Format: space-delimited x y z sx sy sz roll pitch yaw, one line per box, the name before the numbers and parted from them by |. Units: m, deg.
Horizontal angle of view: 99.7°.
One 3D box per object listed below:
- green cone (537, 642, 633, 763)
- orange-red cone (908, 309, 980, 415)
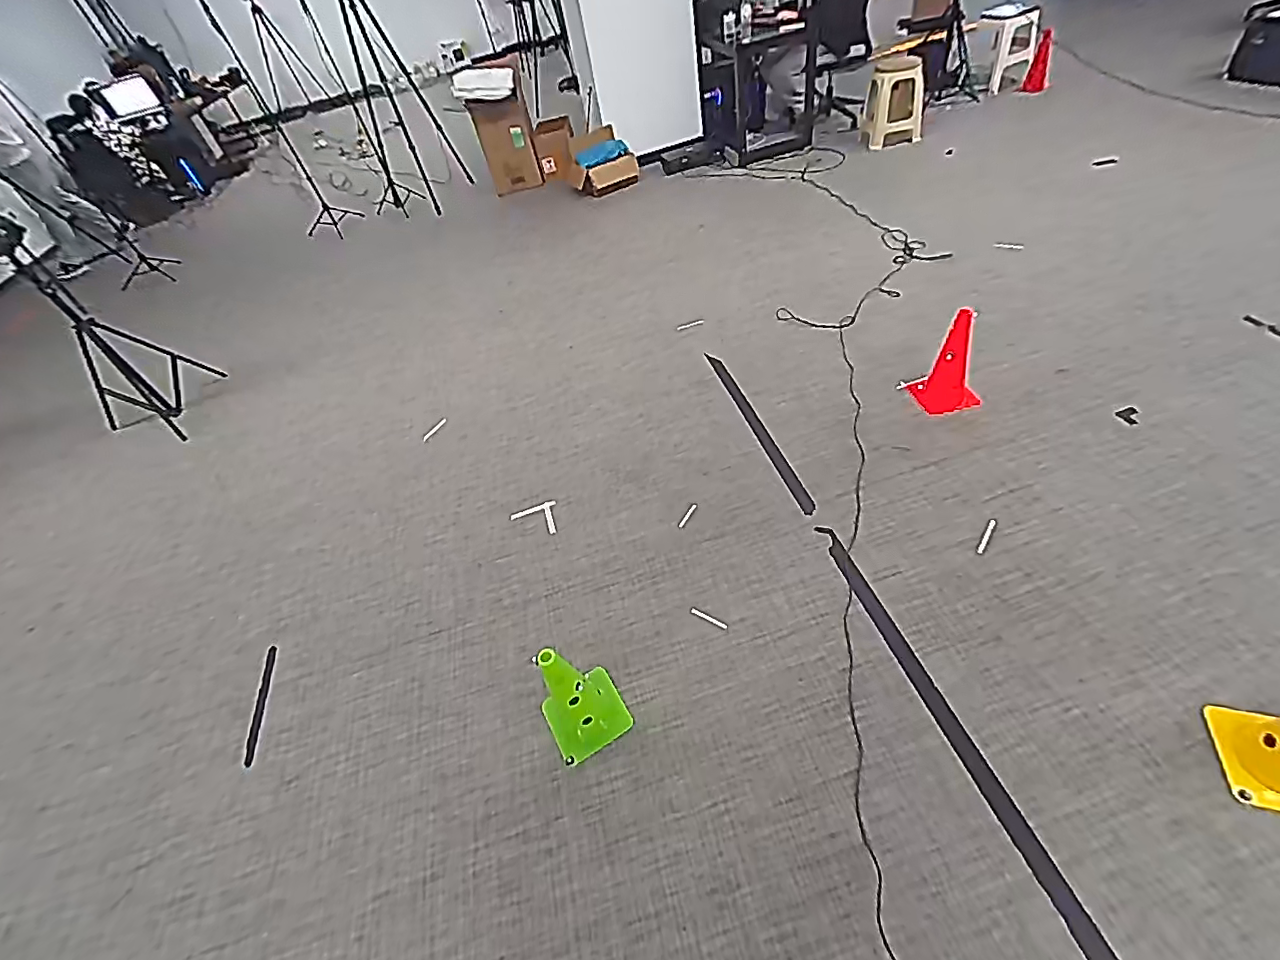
green cone | -0.173 0.506 1.333 0.200 0.368 0.202 -29 46 -14
orange-red cone | 1.106 -0.436 1.906 0.198 0.360 0.199 -13 46 3
